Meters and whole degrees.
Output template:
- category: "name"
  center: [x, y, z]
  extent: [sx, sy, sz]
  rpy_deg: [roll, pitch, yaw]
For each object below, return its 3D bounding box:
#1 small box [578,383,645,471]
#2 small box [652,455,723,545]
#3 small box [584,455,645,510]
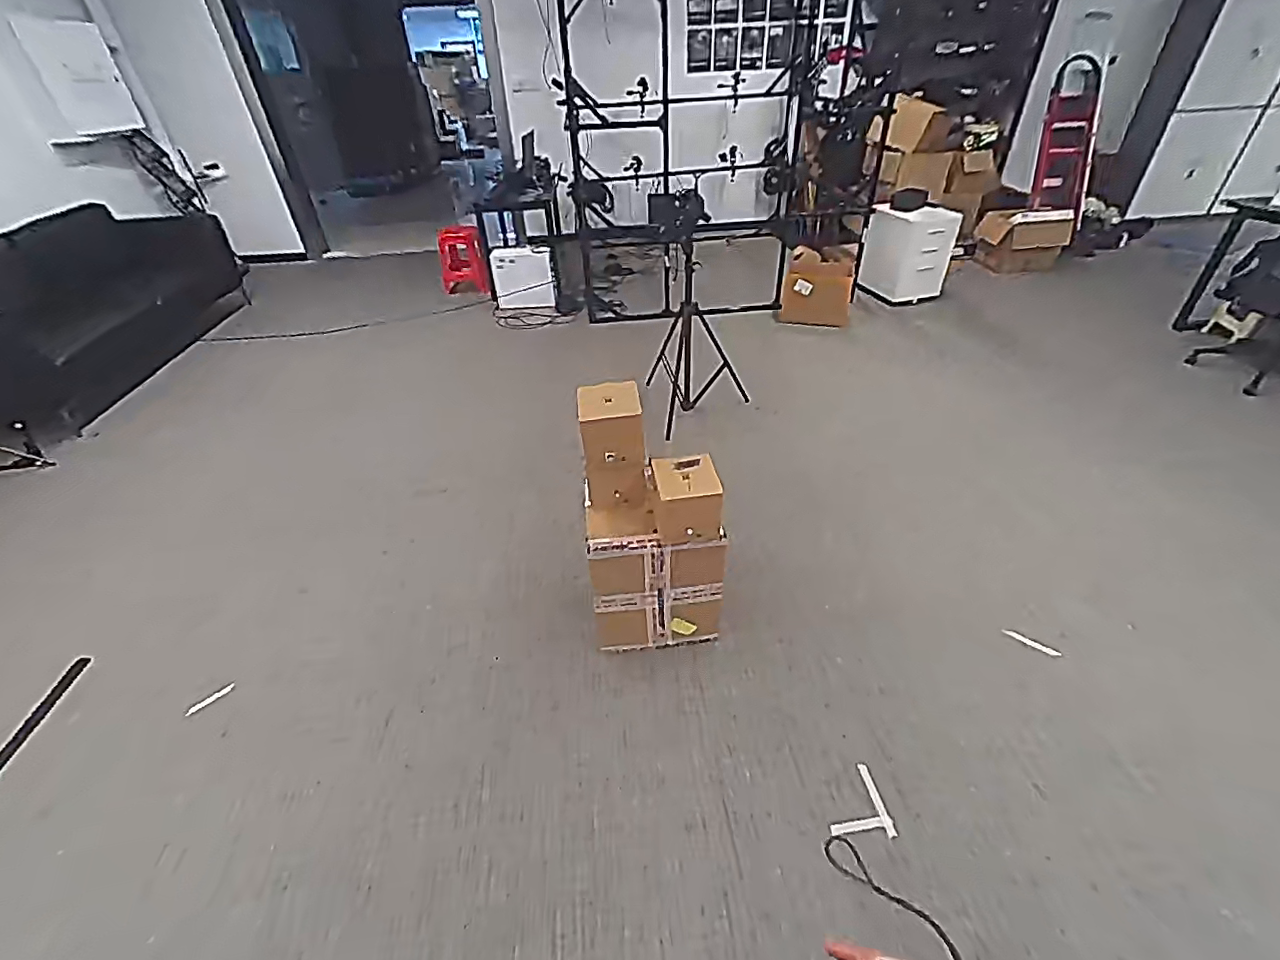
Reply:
- category: "small box"
  center: [-0.079, -0.146, 1.494]
  extent: [0.168, 0.176, 0.179]
  rpy_deg: [-8, 41, -3]
- category: "small box"
  center: [0.123, 0.055, 1.491]
  extent: [0.168, 0.176, 0.179]
  rpy_deg: [-7, 41, -5]
- category: "small box"
  center: [-0.078, -0.034, 1.613]
  extent: [0.168, 0.176, 0.179]
  rpy_deg: [-7, 40, -3]
